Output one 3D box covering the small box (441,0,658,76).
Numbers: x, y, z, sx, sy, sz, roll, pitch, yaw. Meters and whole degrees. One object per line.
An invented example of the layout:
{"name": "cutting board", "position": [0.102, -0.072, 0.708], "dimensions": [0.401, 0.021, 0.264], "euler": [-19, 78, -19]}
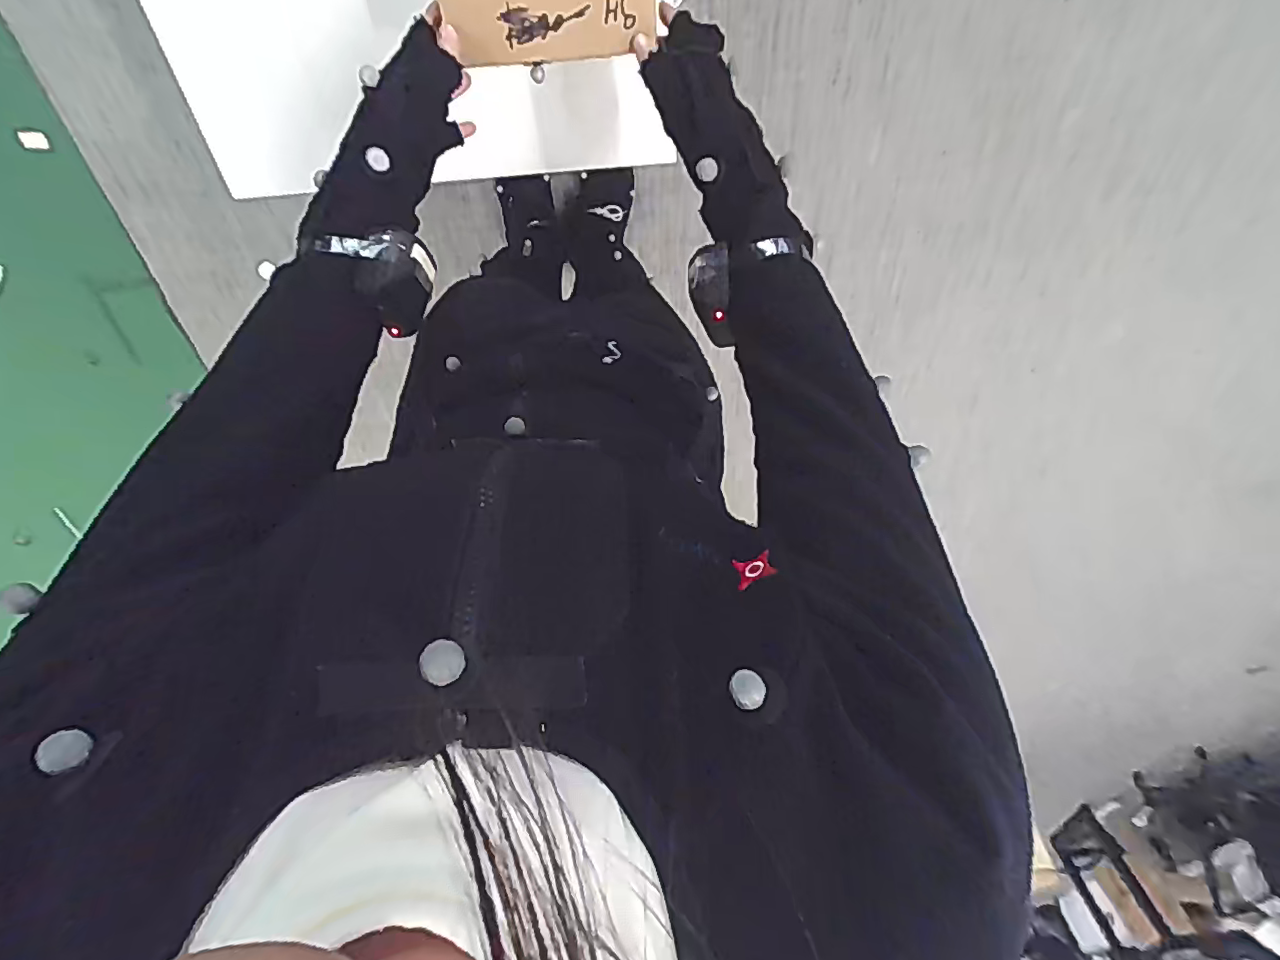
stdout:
{"name": "small box", "position": [-0.075, -0.449, 0.446], "dimensions": [0.168, 0.176, 0.179], "euler": [-4, 127, 2]}
